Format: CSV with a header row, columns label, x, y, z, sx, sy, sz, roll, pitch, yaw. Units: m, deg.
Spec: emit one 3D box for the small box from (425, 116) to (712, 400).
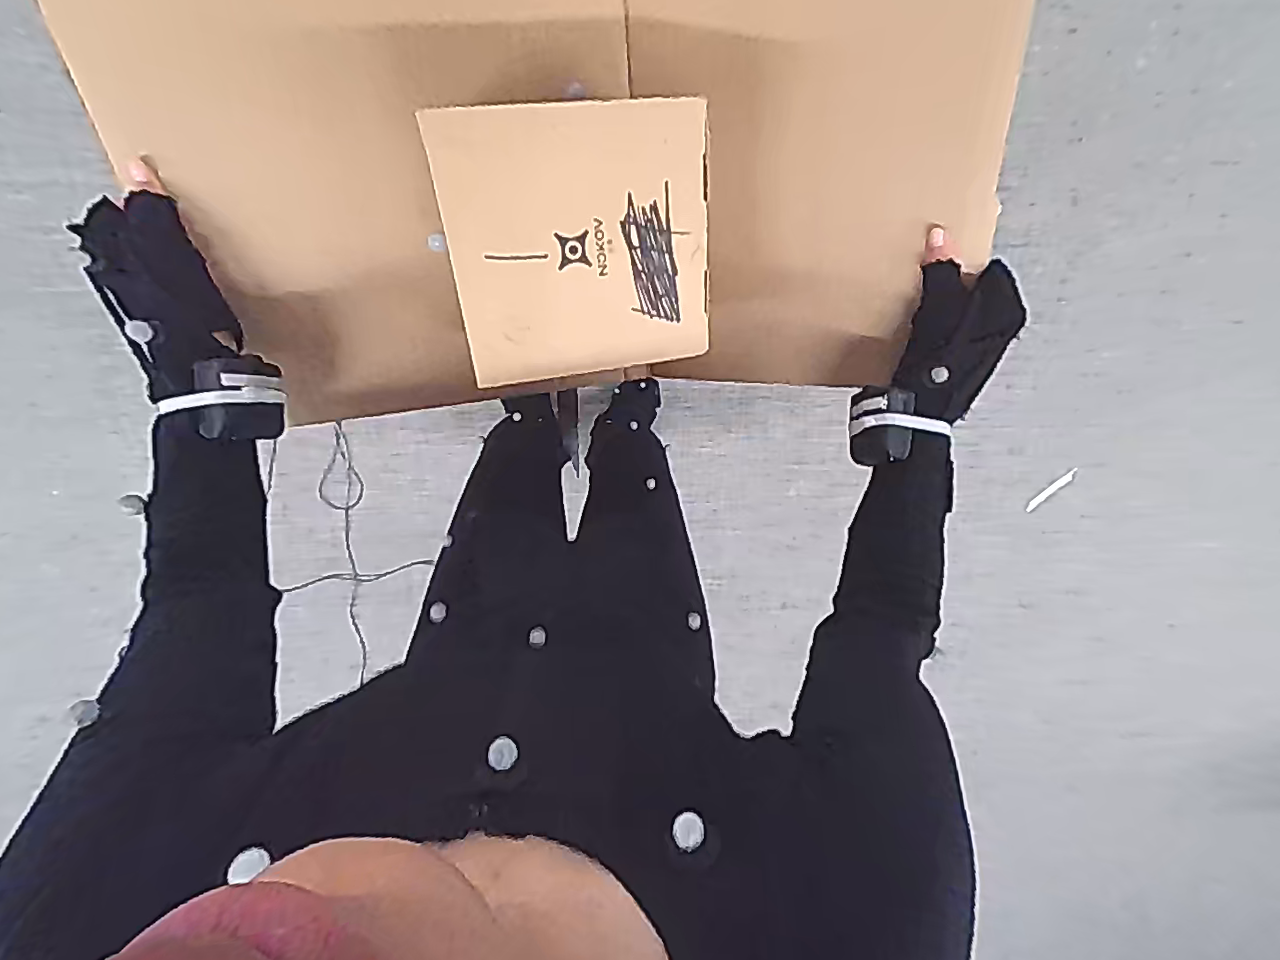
label,x,y,z,sx,sy,sz,roll,pitch,yaw
small box,-0.056,-0.178,0.424,0.179,0.176,0.168,-11,120,-11
